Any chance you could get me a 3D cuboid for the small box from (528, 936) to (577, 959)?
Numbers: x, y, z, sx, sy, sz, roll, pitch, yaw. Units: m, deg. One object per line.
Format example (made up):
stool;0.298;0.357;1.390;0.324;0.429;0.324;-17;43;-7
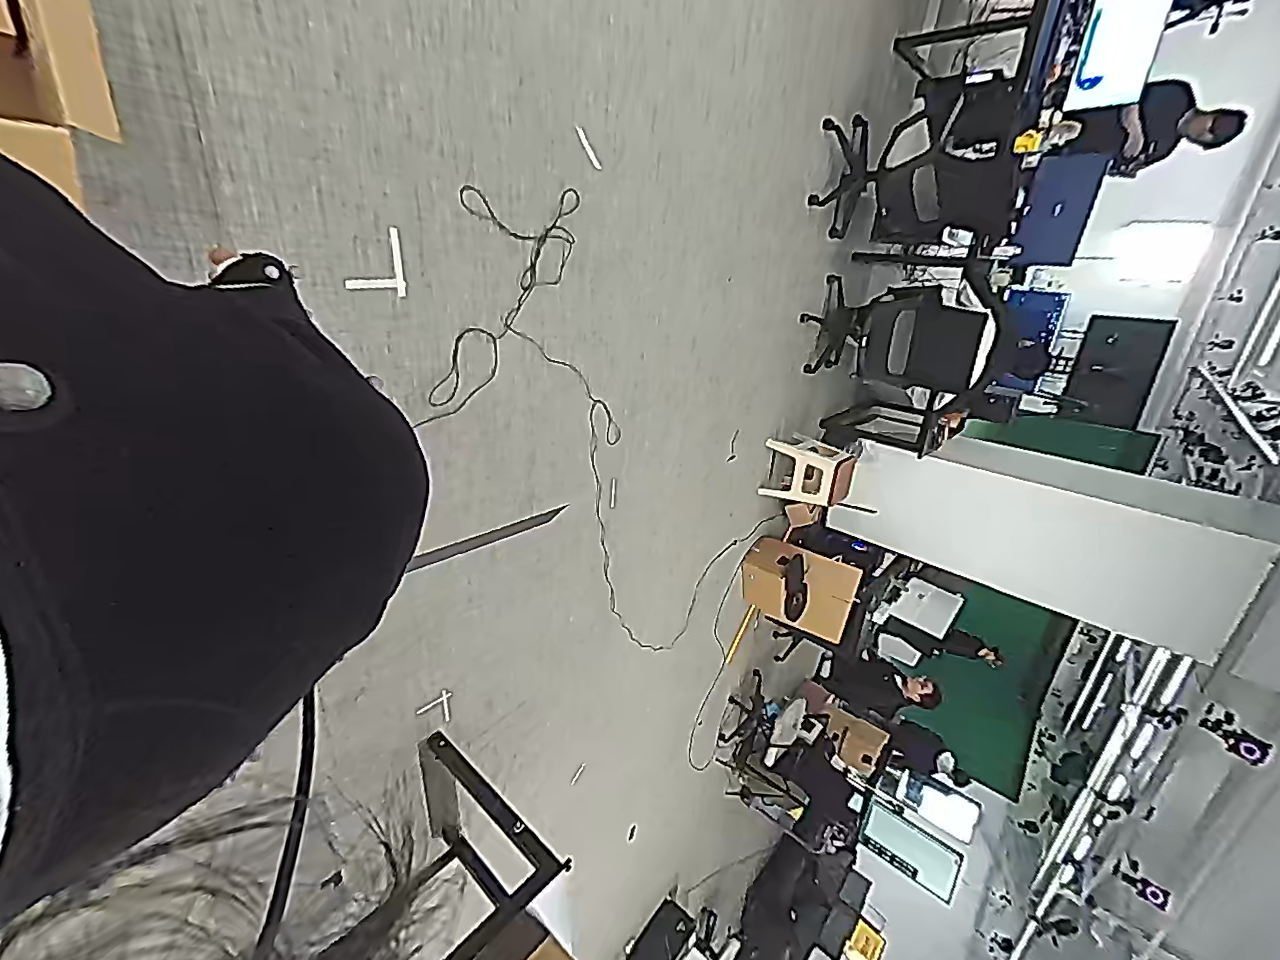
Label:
small box;-0.263;1.509;1.593;0.168;0.176;0.179;-23;124;-43
